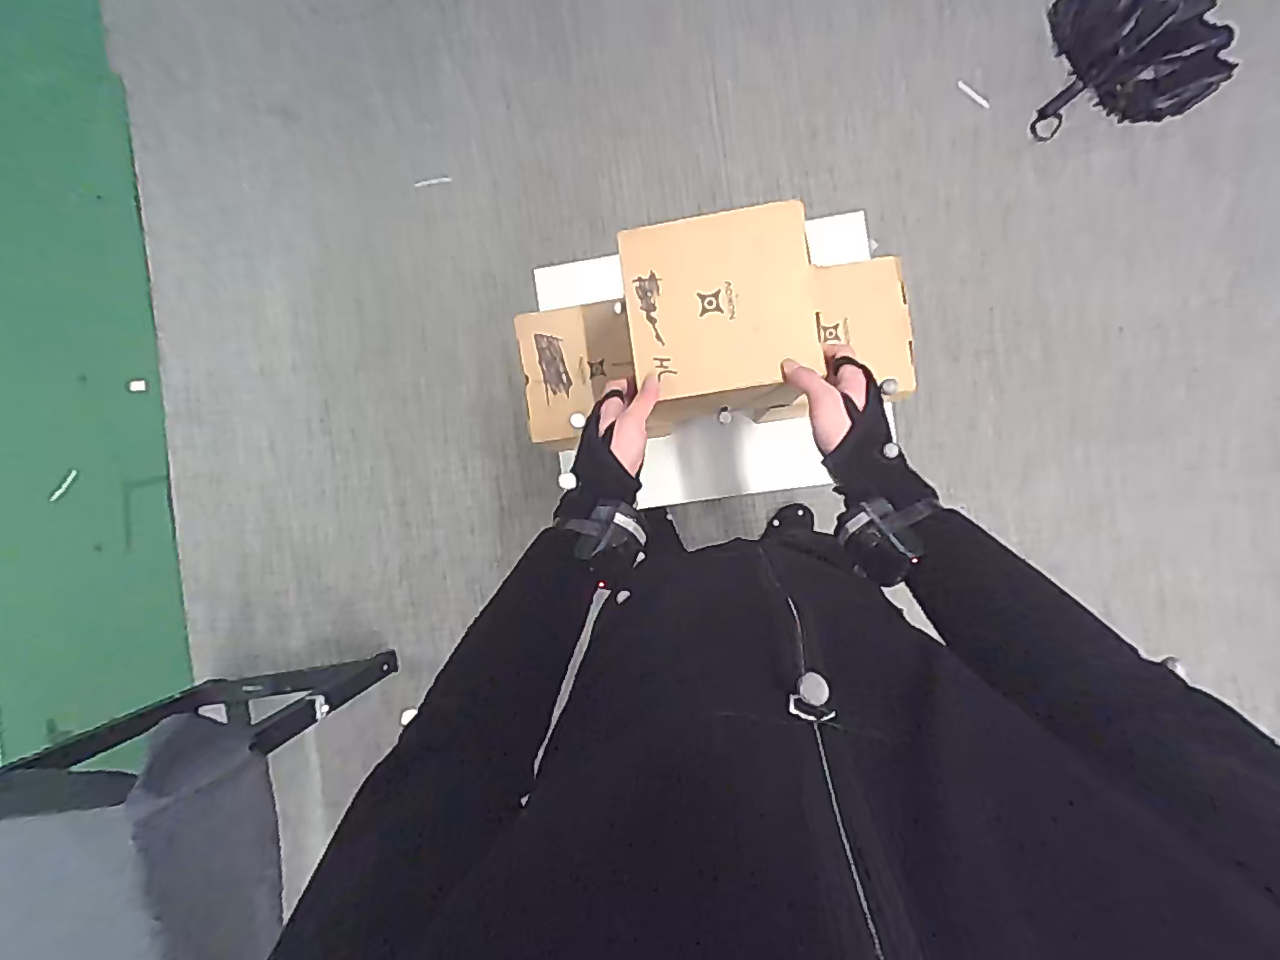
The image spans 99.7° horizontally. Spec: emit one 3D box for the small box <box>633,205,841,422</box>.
[{"bbox_3d":[0.091,-0.158,0.569,0.179,0.176,0.168,-7,89,3],"label":"small box"}]

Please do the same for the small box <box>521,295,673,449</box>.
[{"bbox_3d":[-0.049,-0.136,0.741,0.179,0.176,0.168,-7,89,2],"label":"small box"}]

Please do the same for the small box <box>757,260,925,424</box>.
[{"bbox_3d":[0.249,-0.172,0.722,0.179,0.176,0.168,-6,89,5],"label":"small box"}]
